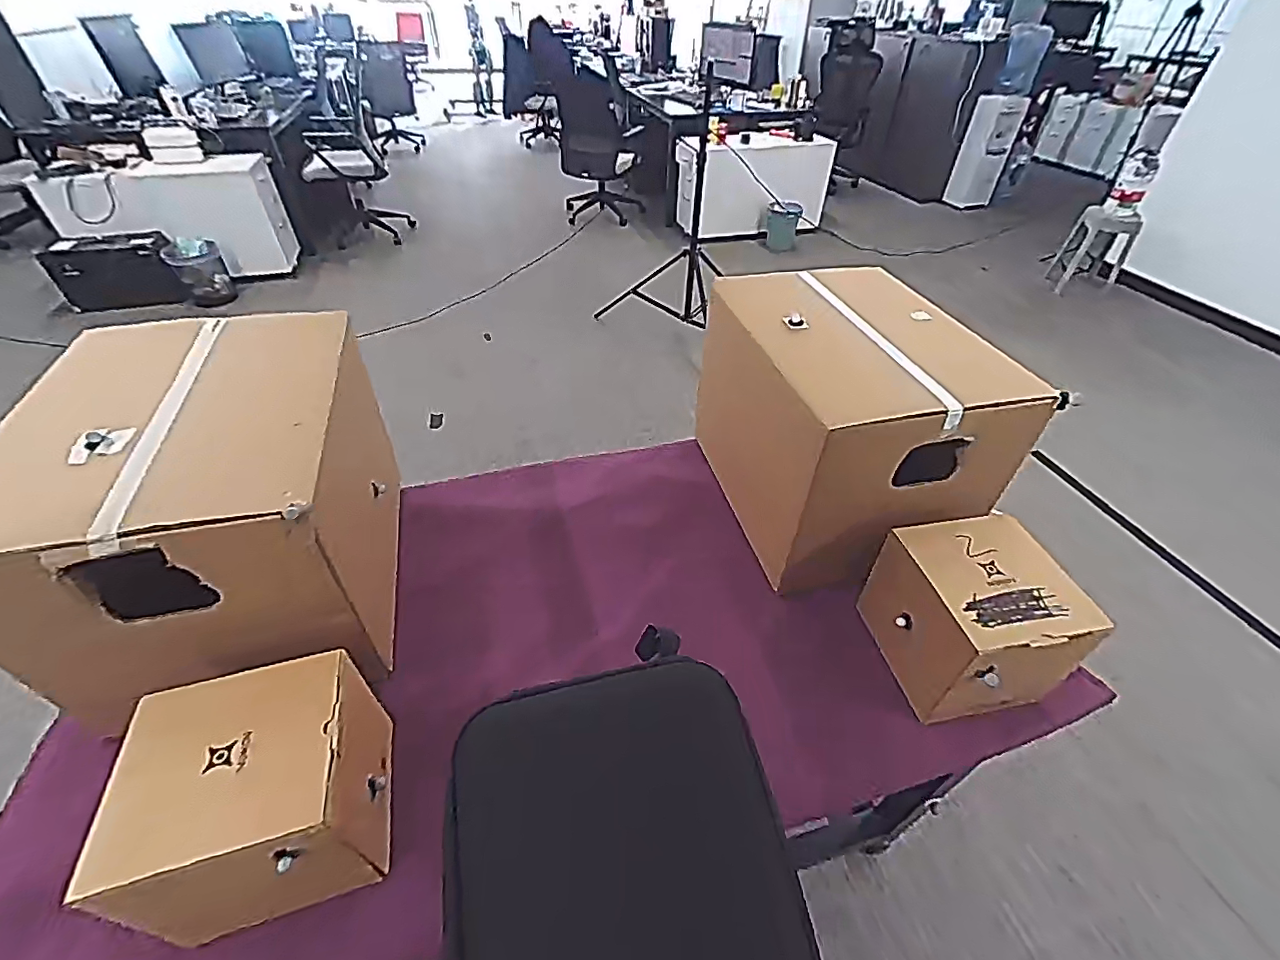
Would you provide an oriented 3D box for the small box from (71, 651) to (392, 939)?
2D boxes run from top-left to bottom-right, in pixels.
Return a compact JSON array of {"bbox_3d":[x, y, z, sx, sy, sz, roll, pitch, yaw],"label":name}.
[{"bbox_3d":[-0.358,0.301,0.521,0.179,0.176,0.168,-11,42,-15],"label":"small box"}]

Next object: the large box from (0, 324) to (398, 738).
[{"bbox_3d":[-0.509,0.041,0.699,0.320,0.320,0.408,-10,46,-14],"label":"large box"}]
